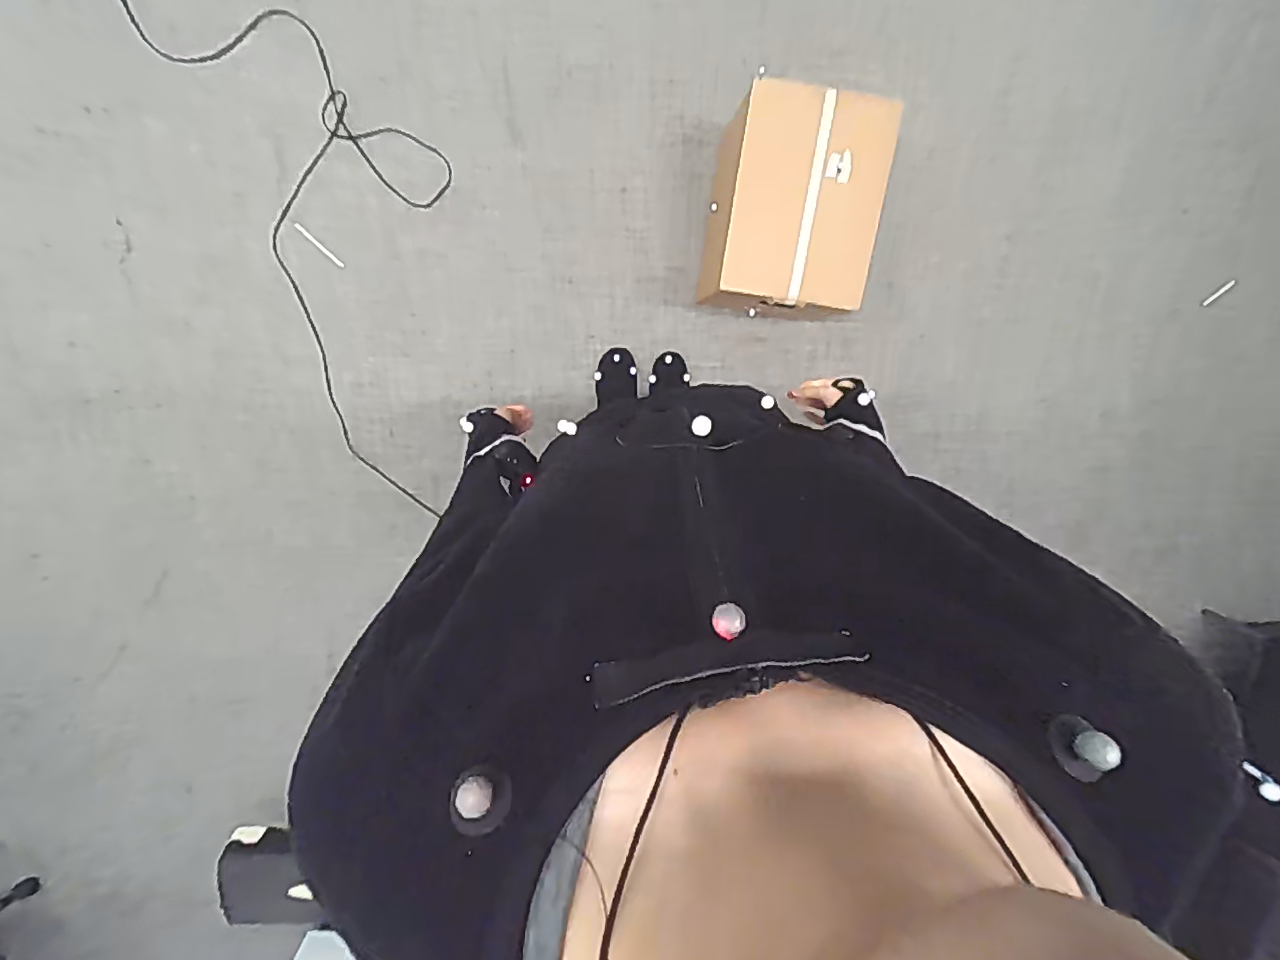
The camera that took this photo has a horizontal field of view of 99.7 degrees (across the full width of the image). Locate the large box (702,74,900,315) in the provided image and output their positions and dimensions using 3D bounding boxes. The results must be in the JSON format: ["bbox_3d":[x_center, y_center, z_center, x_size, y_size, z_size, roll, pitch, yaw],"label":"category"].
[{"bbox_3d":[0.340,-0.615,1.251,0.320,0.320,0.408,7,102,-5],"label":"large box"}]
